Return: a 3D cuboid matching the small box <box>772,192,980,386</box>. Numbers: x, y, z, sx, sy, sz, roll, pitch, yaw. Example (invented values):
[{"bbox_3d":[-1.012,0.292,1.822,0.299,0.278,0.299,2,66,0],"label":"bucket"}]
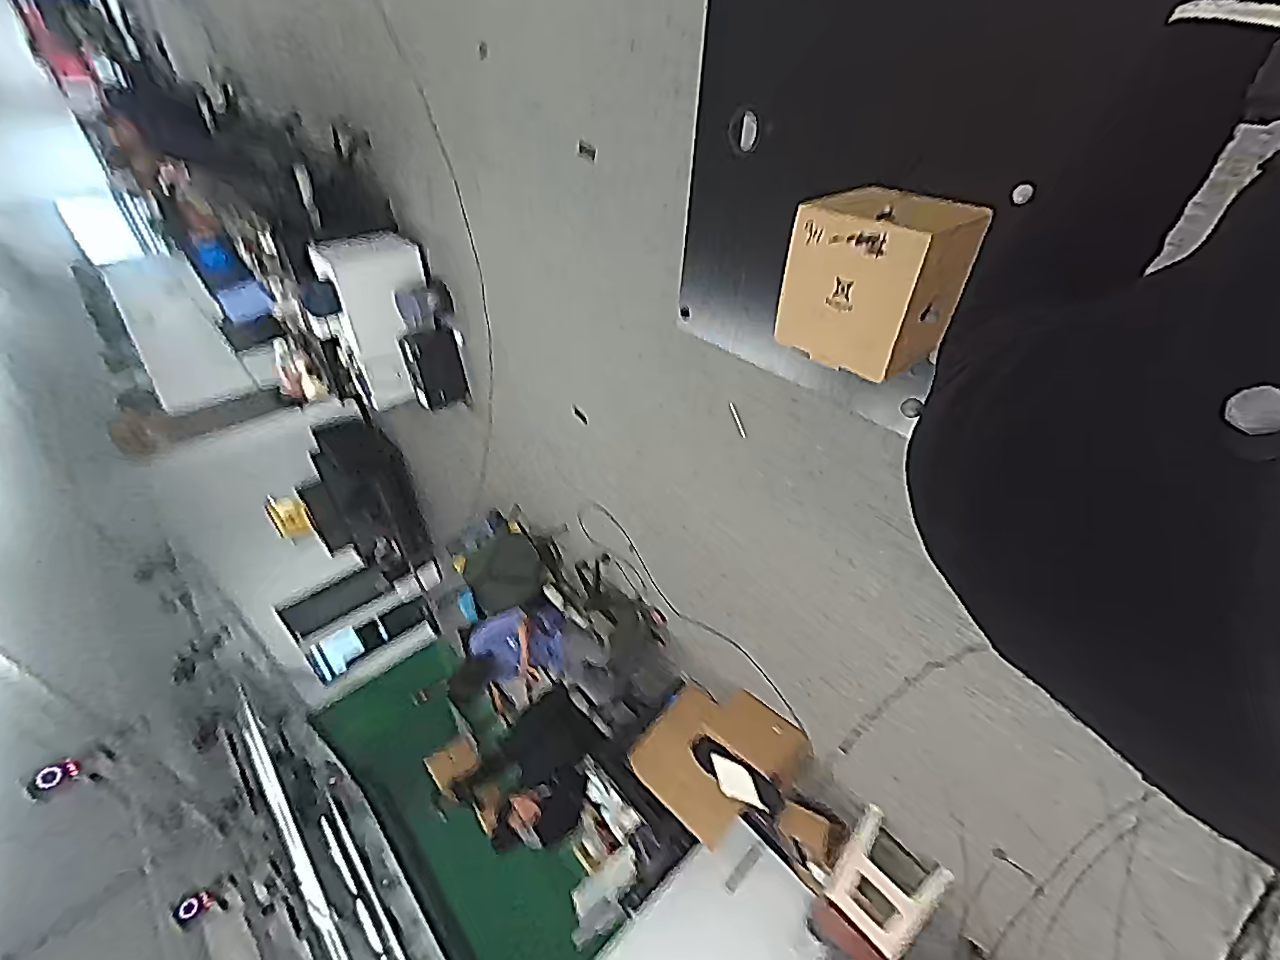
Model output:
[{"bbox_3d":[0.299,-0.253,0.698,0.168,0.176,0.179,35,140,34],"label":"small box"}]
